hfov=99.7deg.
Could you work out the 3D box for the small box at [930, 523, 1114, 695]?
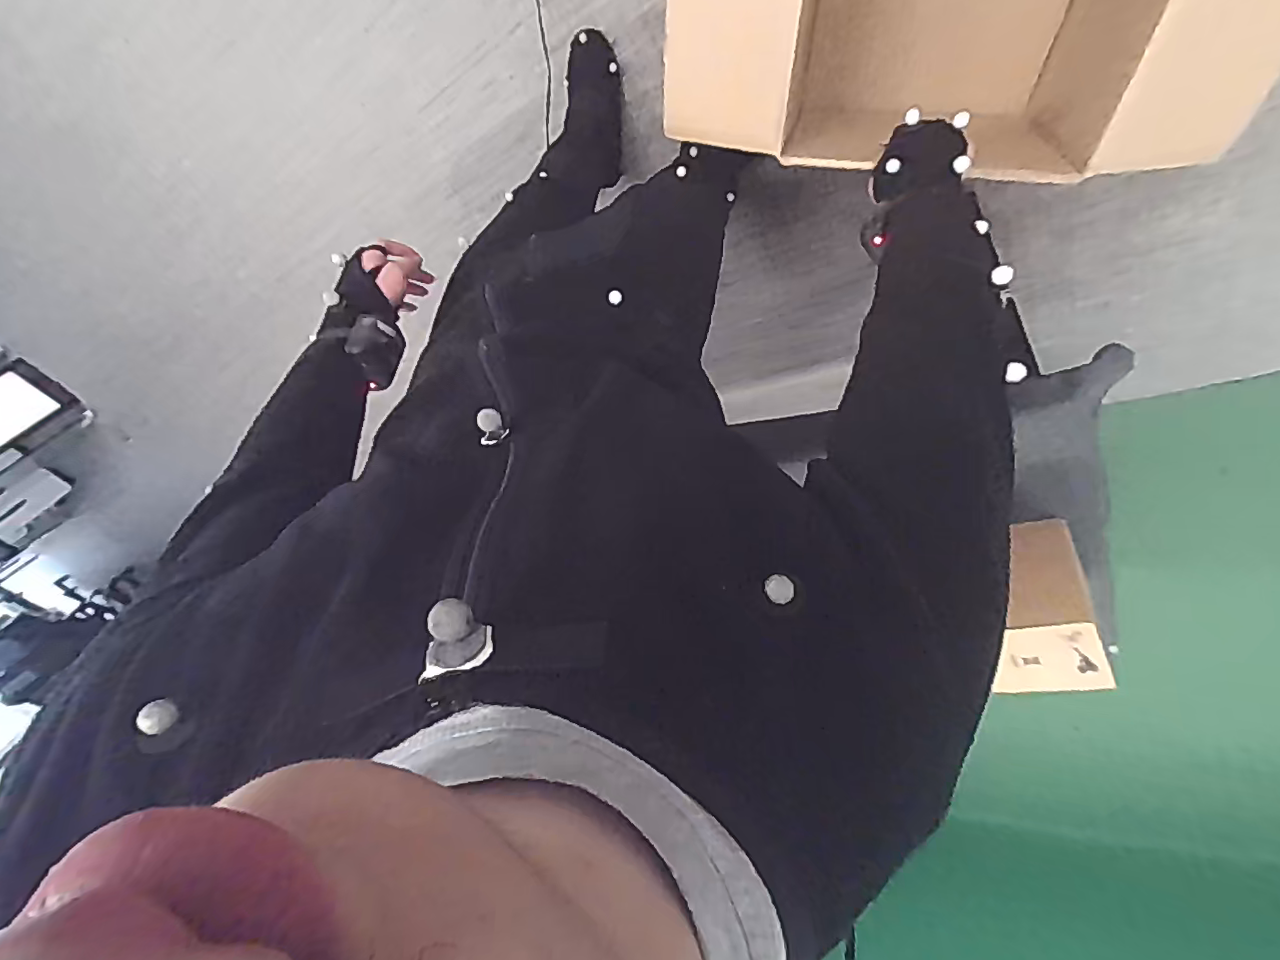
[{"bbox_3d":[0.528,0.183,0.765,0.179,0.176,0.168,-17,127,37],"label":"small box"}]
